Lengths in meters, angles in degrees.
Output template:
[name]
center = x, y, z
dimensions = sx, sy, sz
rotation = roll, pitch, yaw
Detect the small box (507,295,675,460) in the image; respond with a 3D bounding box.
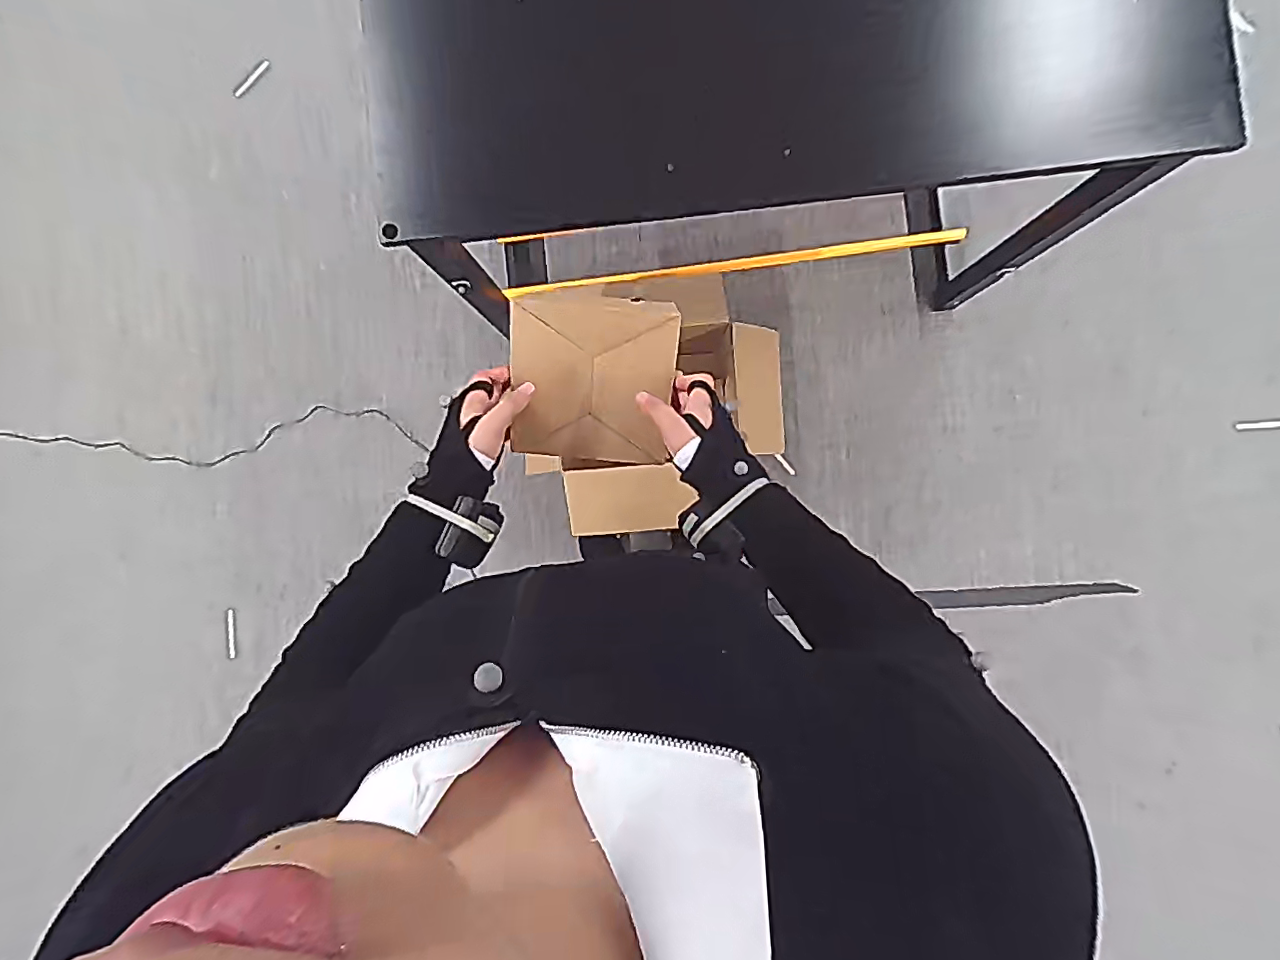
[small box]
center = -0.051, -0.129, 0.654
dimensions = 0.179, 0.176, 0.168
rotation = 5, 111, 0
